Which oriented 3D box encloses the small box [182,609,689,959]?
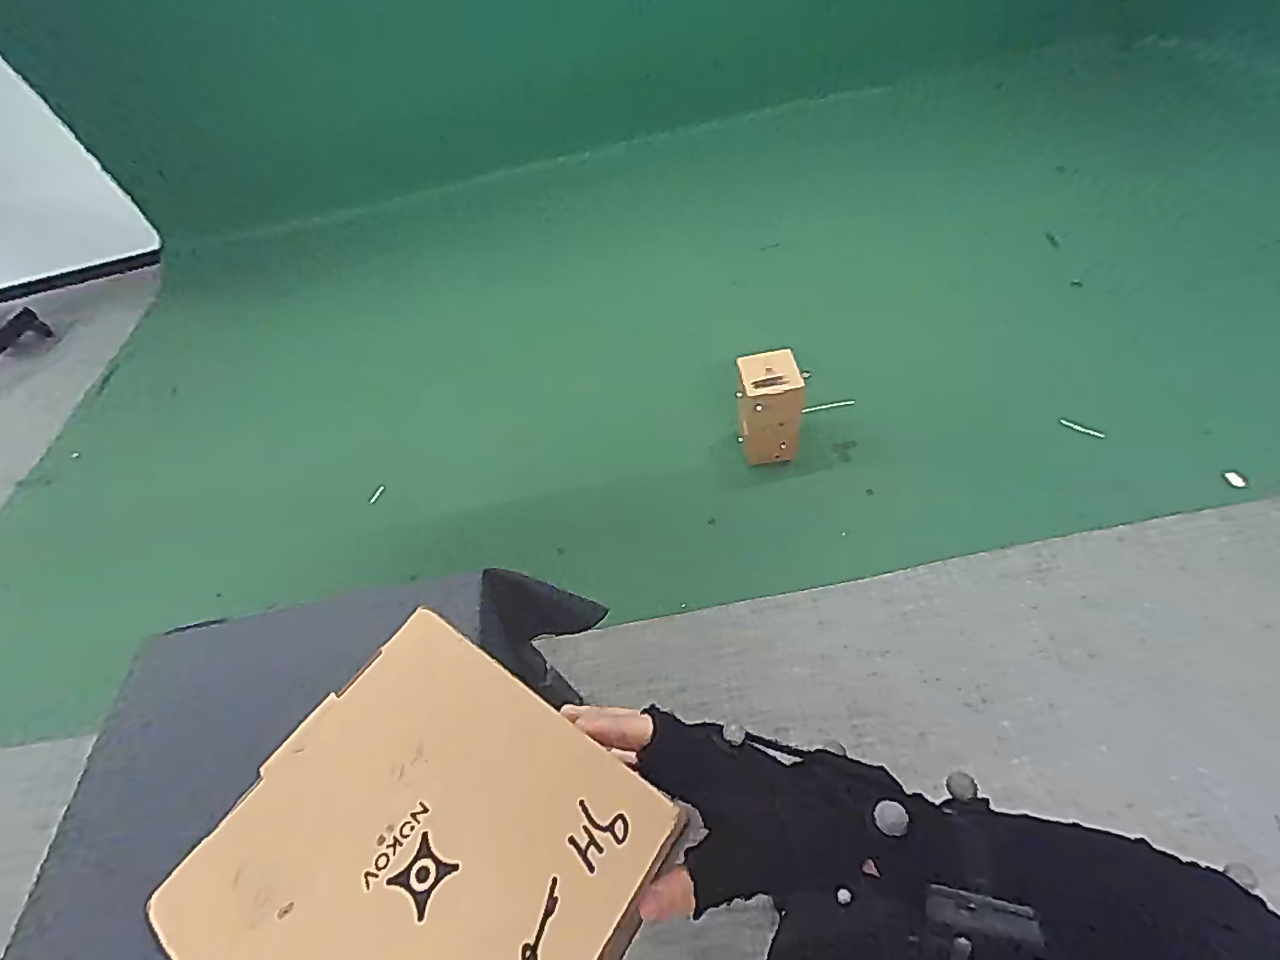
[{"bbox_3d":[-0.088,0.212,0.311,0.179,0.176,0.168,28,64,25],"label":"small box"}]

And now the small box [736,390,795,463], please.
[{"bbox_3d":[0.418,-0.170,1.809,0.168,0.176,0.179,-8,53,6],"label":"small box"}]
